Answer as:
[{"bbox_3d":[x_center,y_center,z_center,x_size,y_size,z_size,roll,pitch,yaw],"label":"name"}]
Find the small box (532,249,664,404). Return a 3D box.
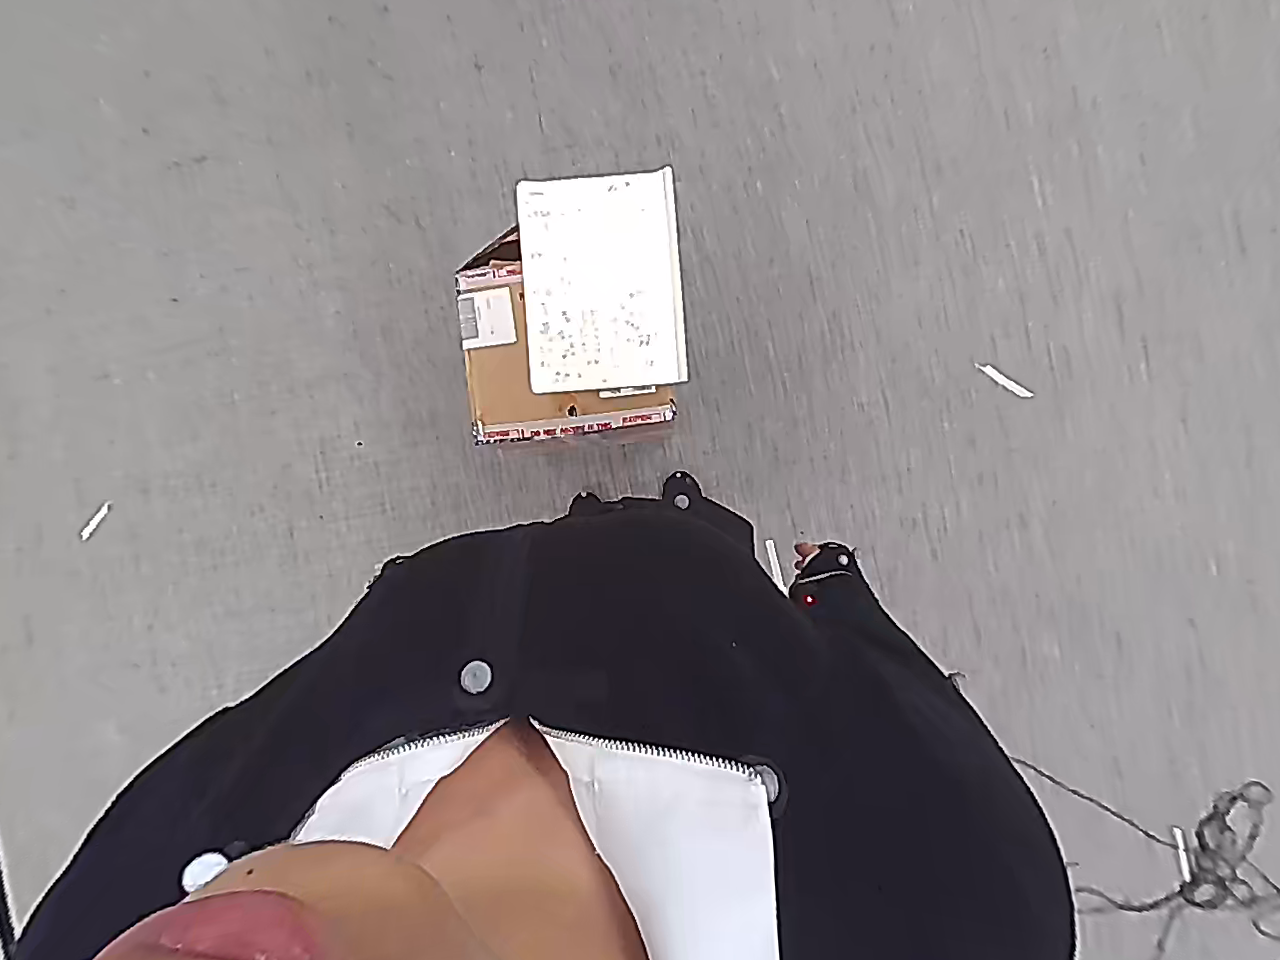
[{"bbox_3d":[-0.056,-0.213,0.785,0.168,0.176,0.179,-4,92,0],"label":"small box"}]

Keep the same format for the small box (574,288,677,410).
[{"bbox_3d":[-0.036,-0.221,0.950,0.179,0.176,0.168,-8,91,1],"label":"small box"}]
